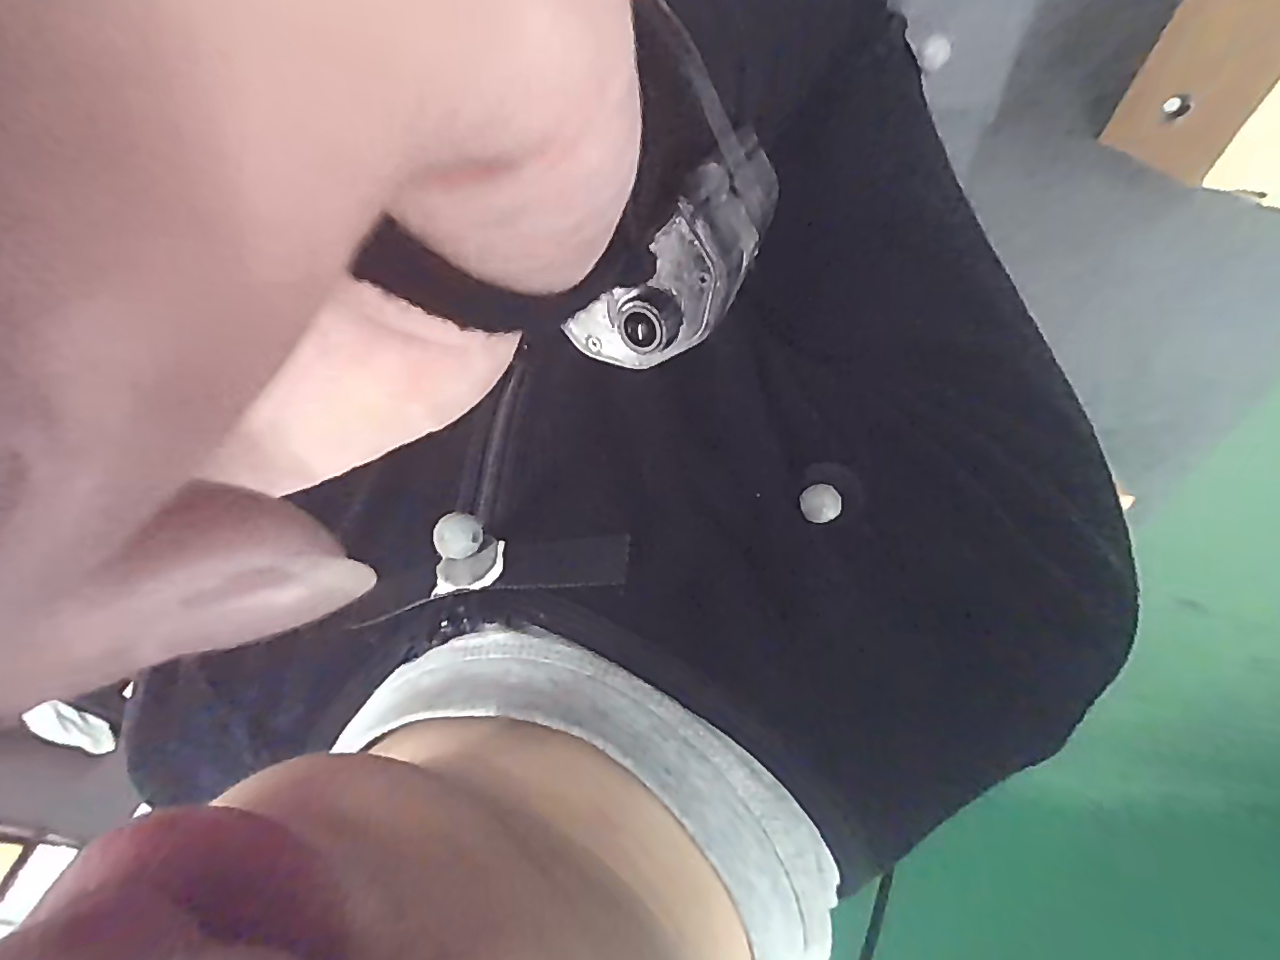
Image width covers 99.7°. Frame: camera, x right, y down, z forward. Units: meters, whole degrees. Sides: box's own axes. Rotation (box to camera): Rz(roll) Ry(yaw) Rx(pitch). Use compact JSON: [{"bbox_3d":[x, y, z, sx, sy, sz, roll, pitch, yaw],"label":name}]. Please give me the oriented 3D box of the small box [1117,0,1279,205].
[{"bbox_3d":[0.551,-0.339,0.440,0.168,0.176,0.179,8,133,1],"label":"small box"}]
